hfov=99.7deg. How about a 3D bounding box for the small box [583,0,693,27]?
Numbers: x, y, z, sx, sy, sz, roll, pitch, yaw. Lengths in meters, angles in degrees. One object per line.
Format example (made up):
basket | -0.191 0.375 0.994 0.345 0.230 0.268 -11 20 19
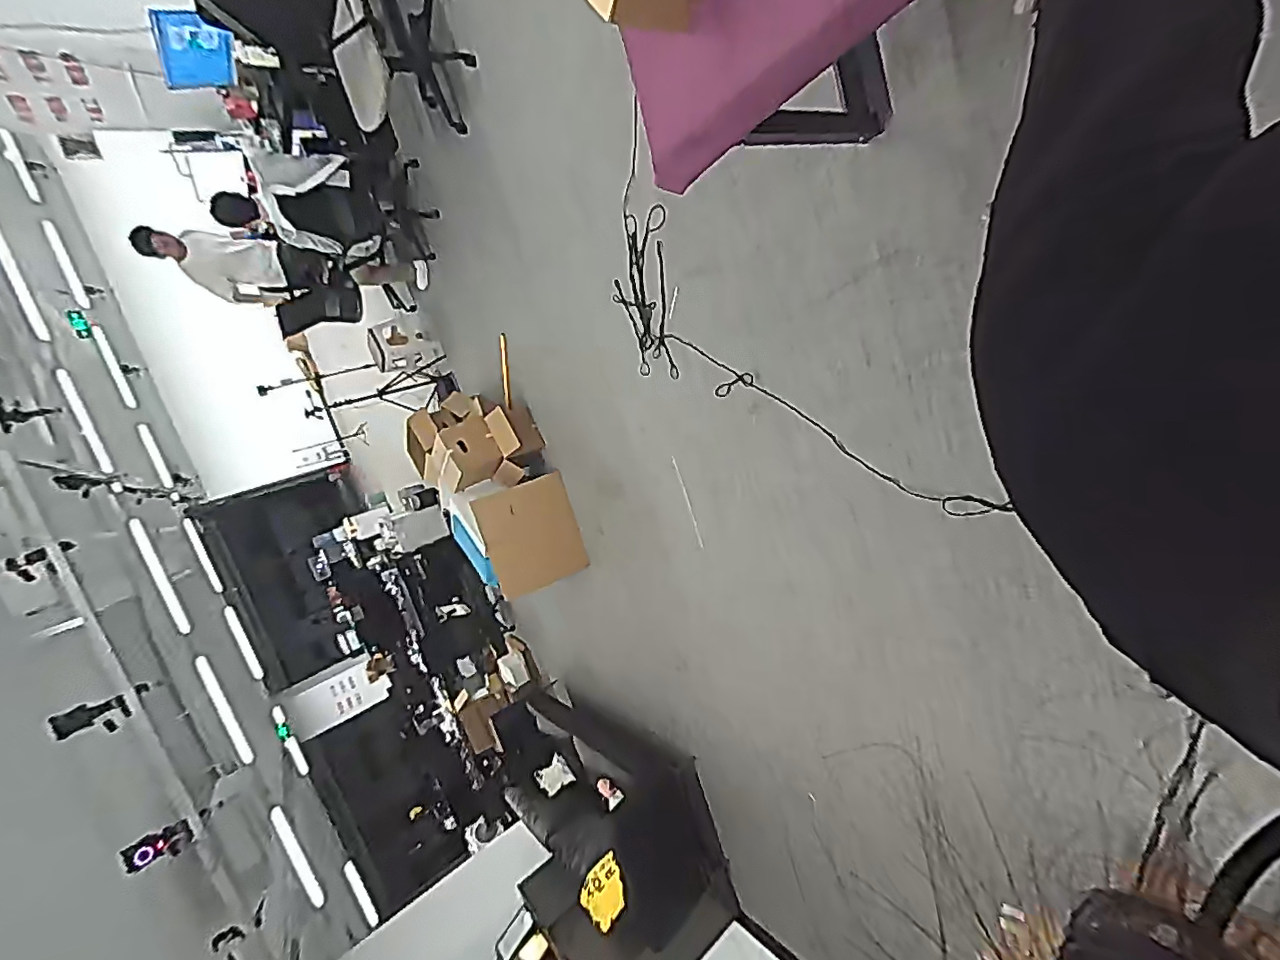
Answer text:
small box | -0.010 -0.830 0.820 0.179 0.176 0.168 57 146 13
